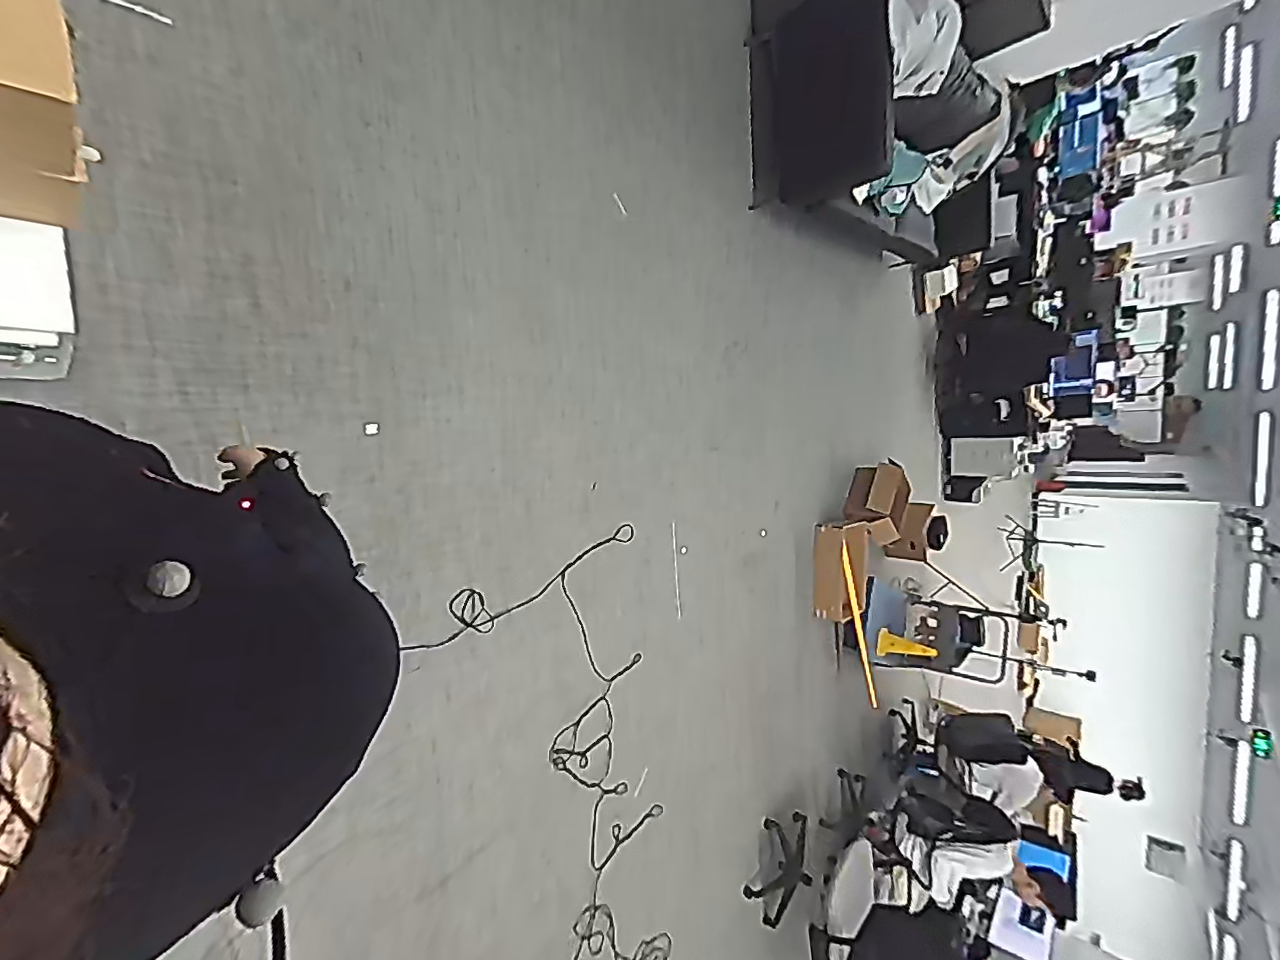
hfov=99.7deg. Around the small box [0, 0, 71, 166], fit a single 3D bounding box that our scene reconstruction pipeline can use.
[{"bbox_3d":[-0.568,-0.378,0.417,0.168,0.176,0.179,-10,99,-47],"label":"small box"}]
